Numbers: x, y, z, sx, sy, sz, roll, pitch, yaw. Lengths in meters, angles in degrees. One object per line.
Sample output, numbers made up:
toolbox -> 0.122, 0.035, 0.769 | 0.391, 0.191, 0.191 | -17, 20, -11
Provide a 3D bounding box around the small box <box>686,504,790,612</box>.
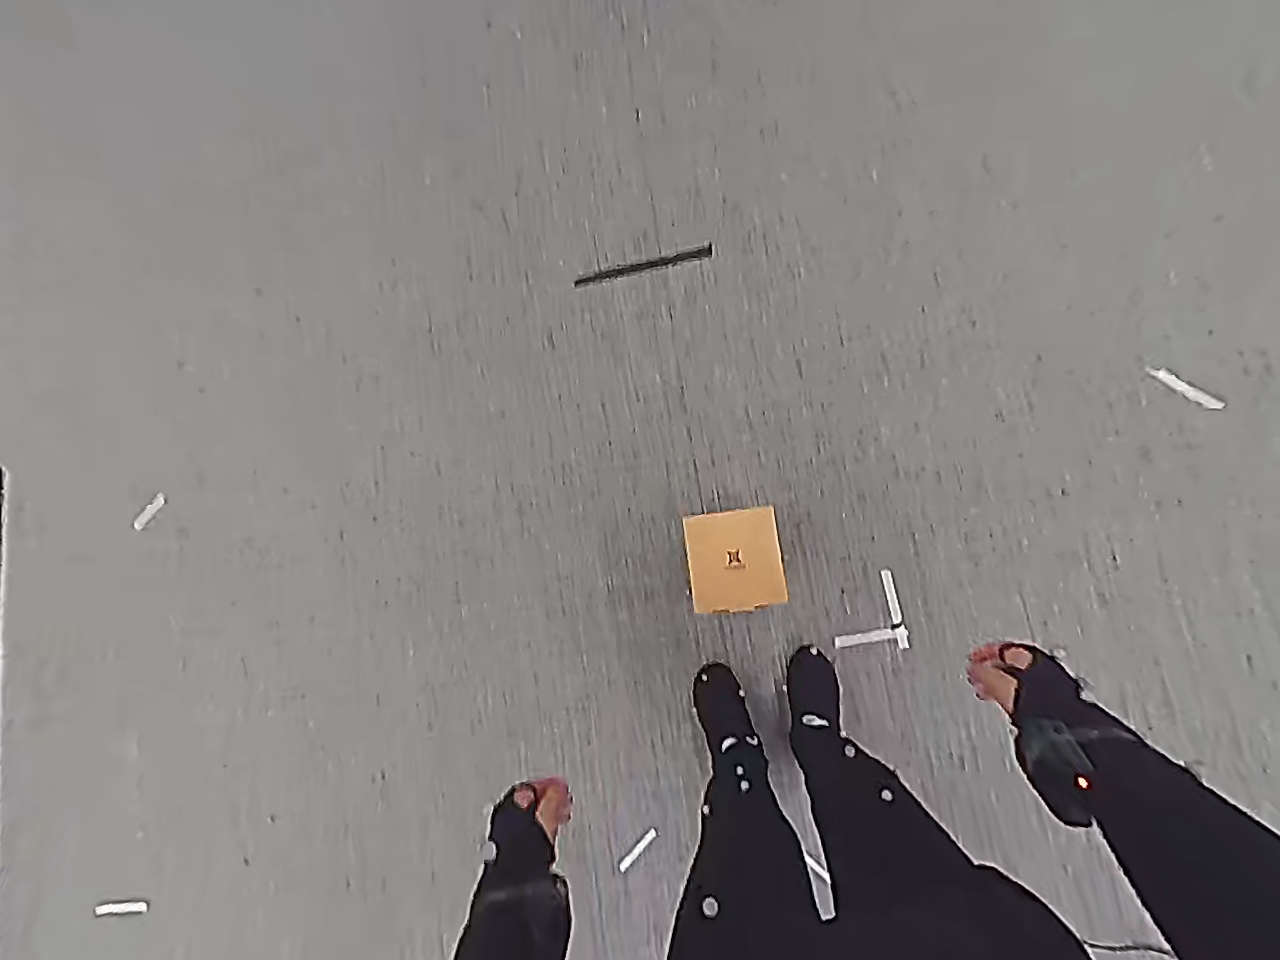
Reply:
small box -> 0.180, 0.148, 1.032 | 0.168, 0.176, 0.179 | -8, 82, 7
